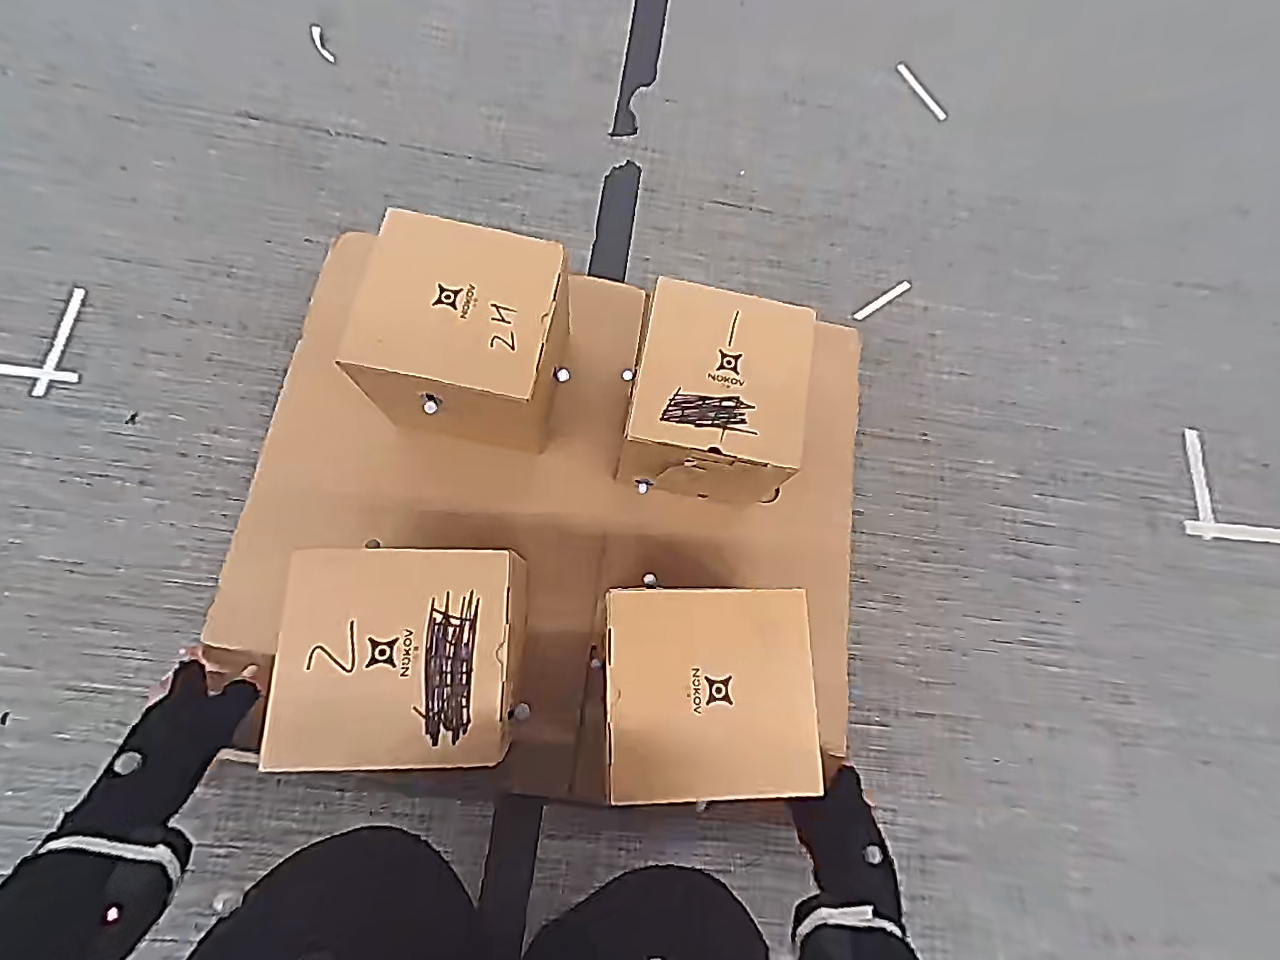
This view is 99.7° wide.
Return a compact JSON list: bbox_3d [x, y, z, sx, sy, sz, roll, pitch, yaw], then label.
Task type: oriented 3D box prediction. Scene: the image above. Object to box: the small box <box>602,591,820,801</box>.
[{"bbox_3d":[0.054,0.195,0.532,0.179,0.176,0.168,0,75,-5],"label":"small box"}]
